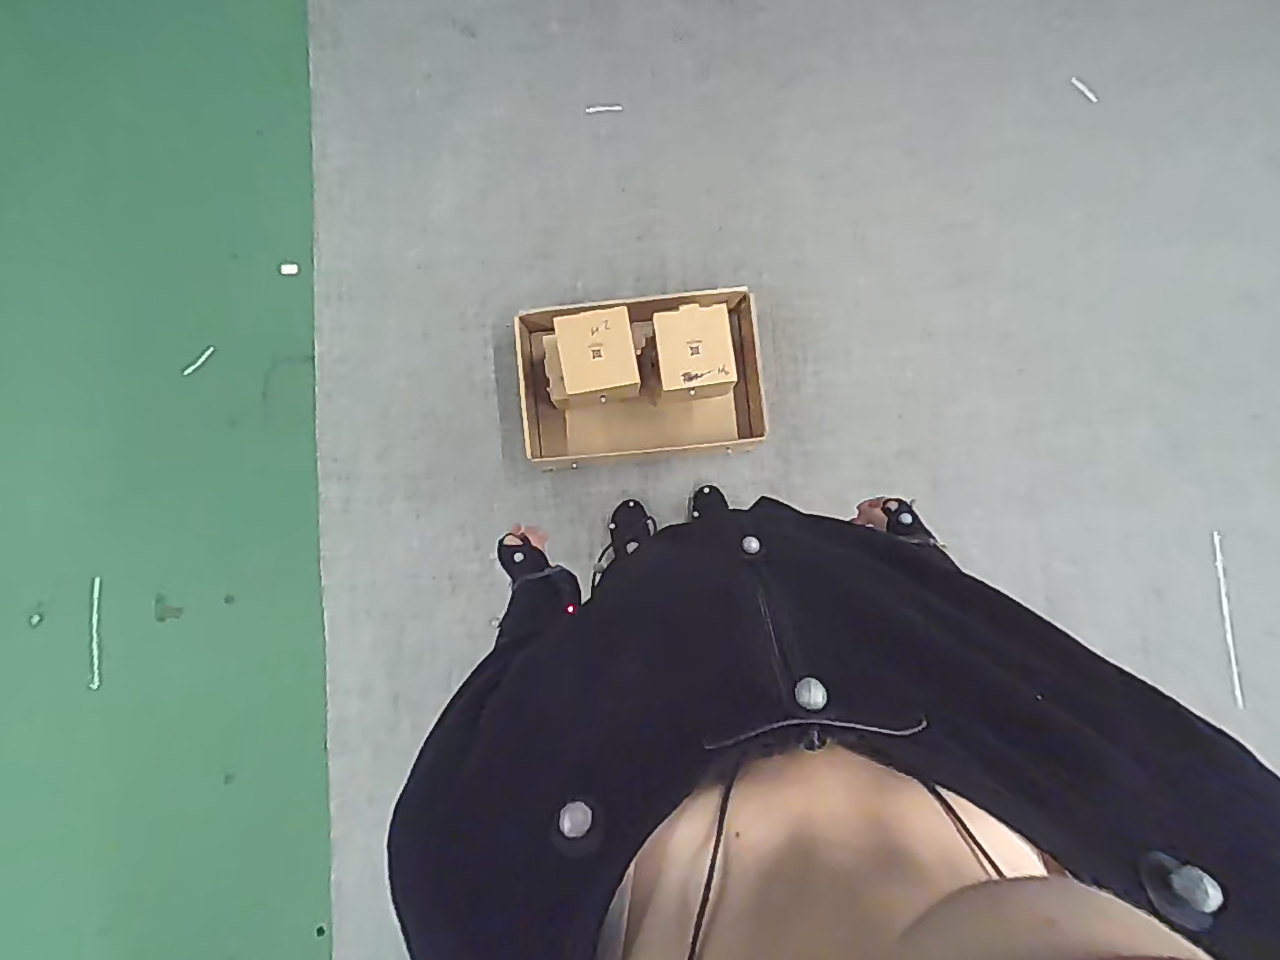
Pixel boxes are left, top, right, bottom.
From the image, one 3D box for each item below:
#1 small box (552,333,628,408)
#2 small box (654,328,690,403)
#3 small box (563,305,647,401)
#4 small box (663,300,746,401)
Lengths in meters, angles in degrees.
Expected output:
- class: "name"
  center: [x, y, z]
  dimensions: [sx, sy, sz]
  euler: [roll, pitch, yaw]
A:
- class: "small box"
  center: [-0.124, -0.293, 1.428]
  dimensions: [0.179, 0.176, 0.168]
  euler: [-8, 89, 0]
- class: "small box"
  center: [0.139, -0.309, 1.420]
  dimensions: [0.179, 0.176, 0.168]
  euler: [-12, 88, 2]
- class: "small box"
  center: [-0.077, -0.286, 1.265]
  dimensions: [0.168, 0.176, 0.179]
  euler: [-10, 89, -2]
- class: "small box"
  center: [0.143, -0.294, 1.255]
  dimensions: [0.168, 0.176, 0.179]
  euler: [-8, 87, 3]
